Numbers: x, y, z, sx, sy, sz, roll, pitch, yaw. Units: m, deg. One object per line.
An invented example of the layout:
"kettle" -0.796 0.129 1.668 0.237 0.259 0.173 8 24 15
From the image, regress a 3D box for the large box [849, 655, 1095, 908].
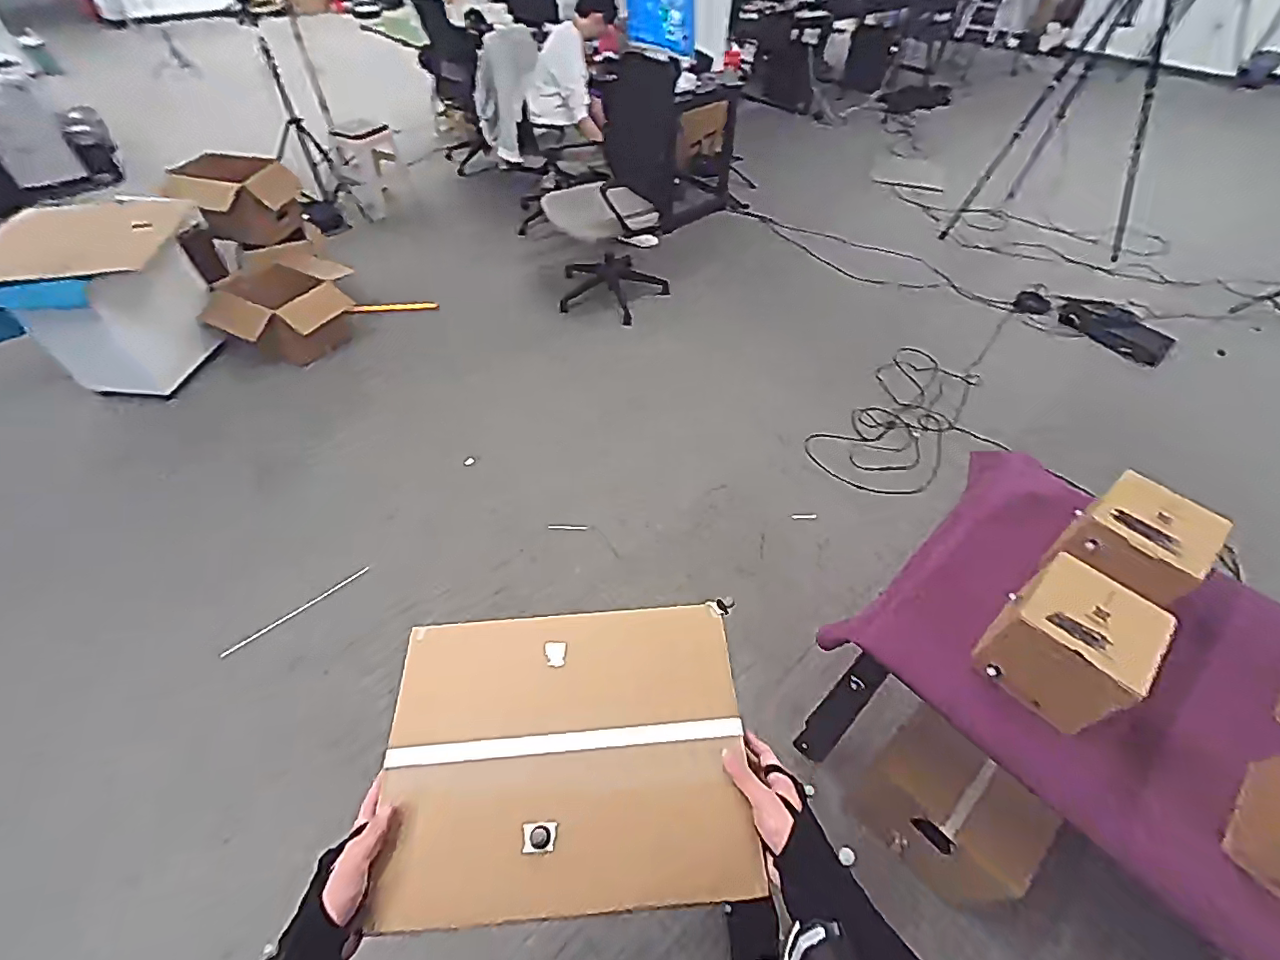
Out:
"large box" 0.783 0.723 1.314 0.408 0.320 0.320 -34 57 -27

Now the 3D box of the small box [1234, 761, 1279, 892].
"small box" 0.912 0.454 0.669 0.179 0.176 0.168 -32 55 -26

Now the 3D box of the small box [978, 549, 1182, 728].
"small box" 0.671 0.250 0.846 0.179 0.176 0.168 -34 57 -28
